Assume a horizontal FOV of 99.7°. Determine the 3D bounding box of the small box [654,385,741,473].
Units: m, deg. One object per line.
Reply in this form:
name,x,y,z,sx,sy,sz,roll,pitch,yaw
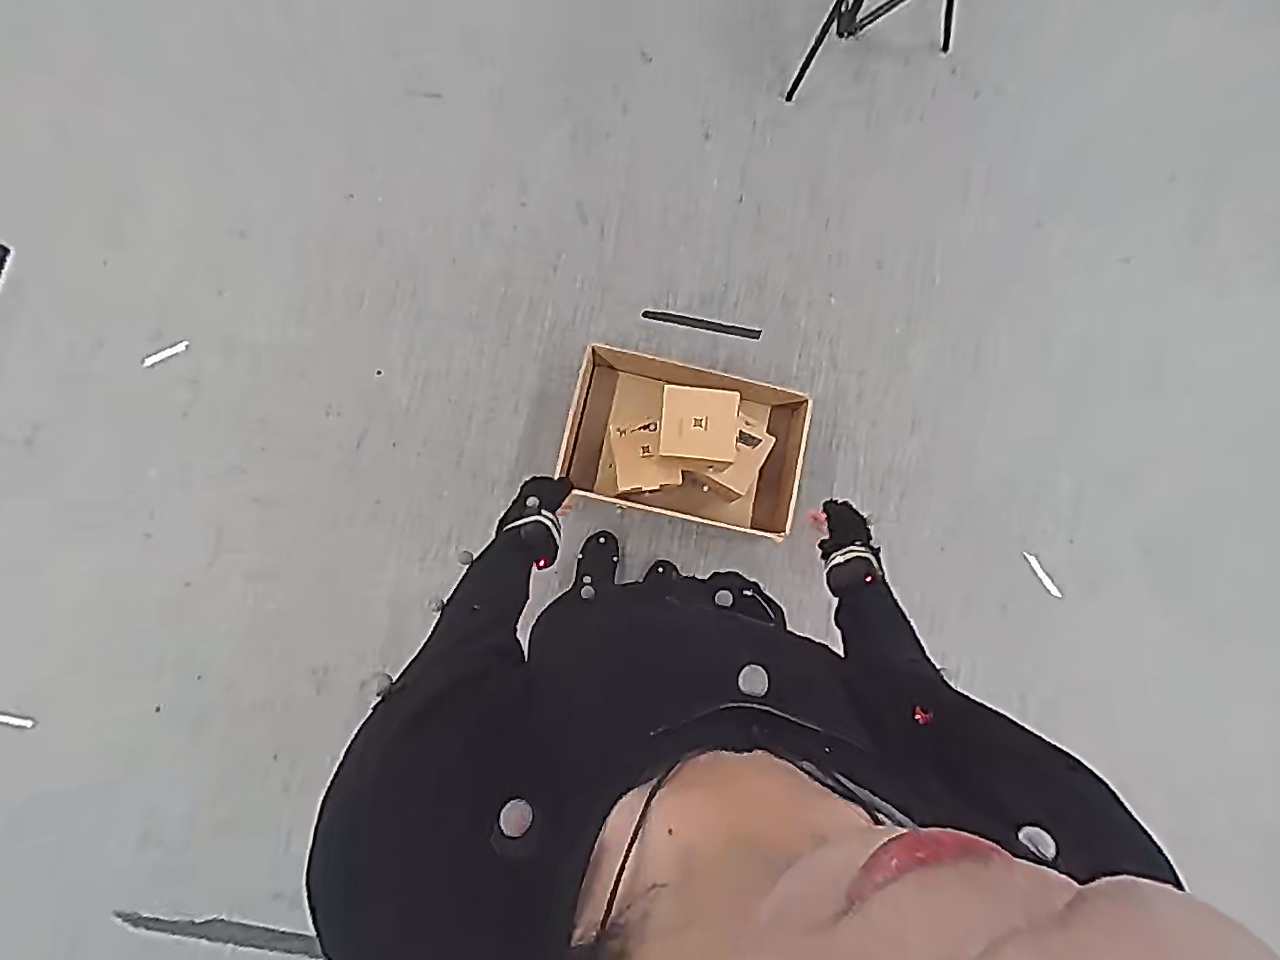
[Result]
small box,0.131,-0.113,1.280,0.179,0.176,0.168,5,81,-2
